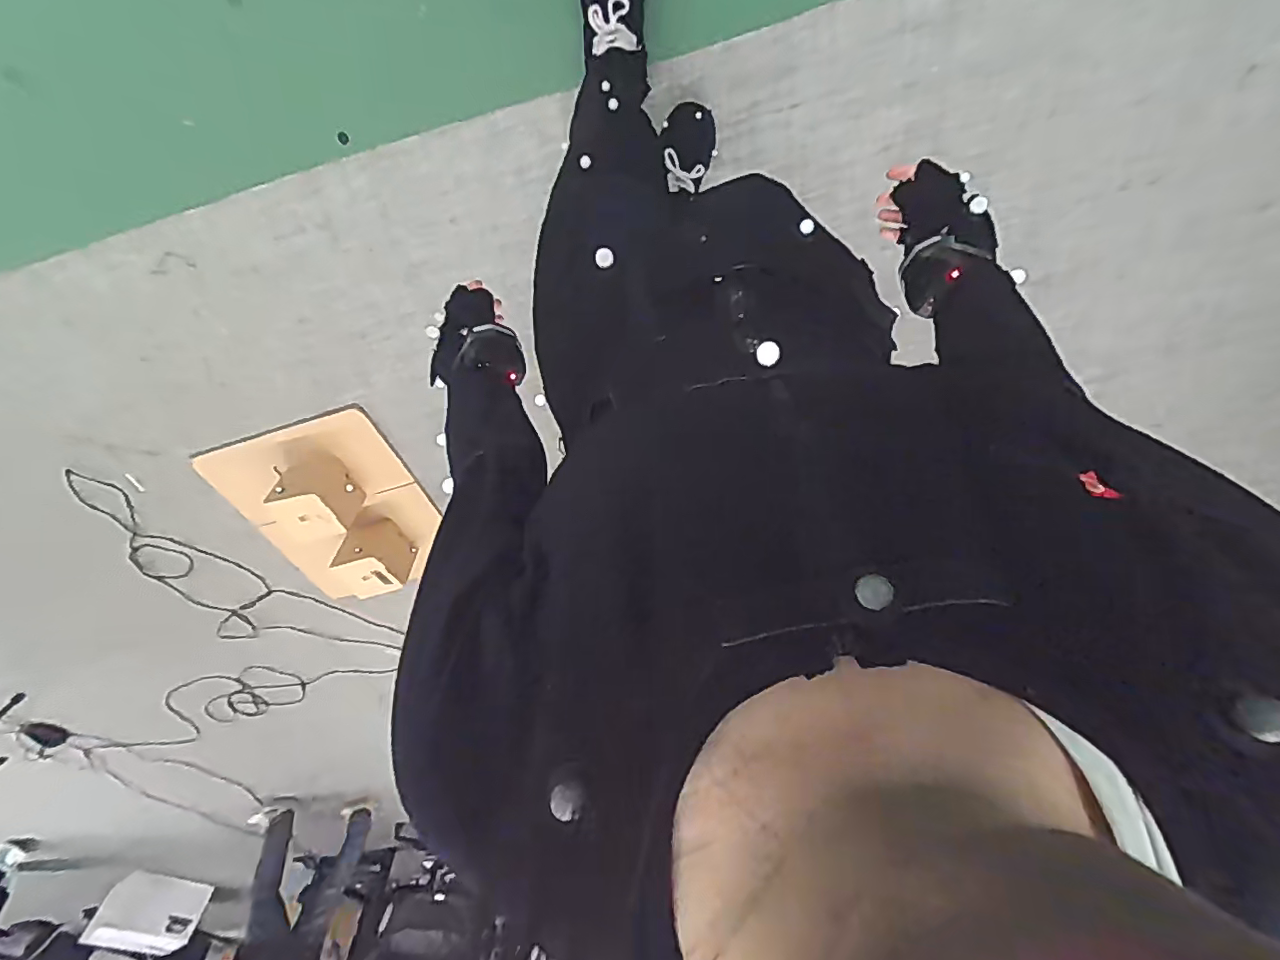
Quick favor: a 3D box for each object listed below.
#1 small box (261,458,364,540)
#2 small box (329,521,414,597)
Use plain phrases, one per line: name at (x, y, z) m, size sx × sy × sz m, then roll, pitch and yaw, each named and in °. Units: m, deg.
small box at (-0.978, 0.055, 1.634) m, size 0.179 × 0.176 × 0.168 m, roll -12°, pitch 129°, yaw 6°
small box at (-0.880, 0.259, 1.798) m, size 0.179 × 0.176 × 0.168 m, roll -16°, pitch 128°, yaw 11°
